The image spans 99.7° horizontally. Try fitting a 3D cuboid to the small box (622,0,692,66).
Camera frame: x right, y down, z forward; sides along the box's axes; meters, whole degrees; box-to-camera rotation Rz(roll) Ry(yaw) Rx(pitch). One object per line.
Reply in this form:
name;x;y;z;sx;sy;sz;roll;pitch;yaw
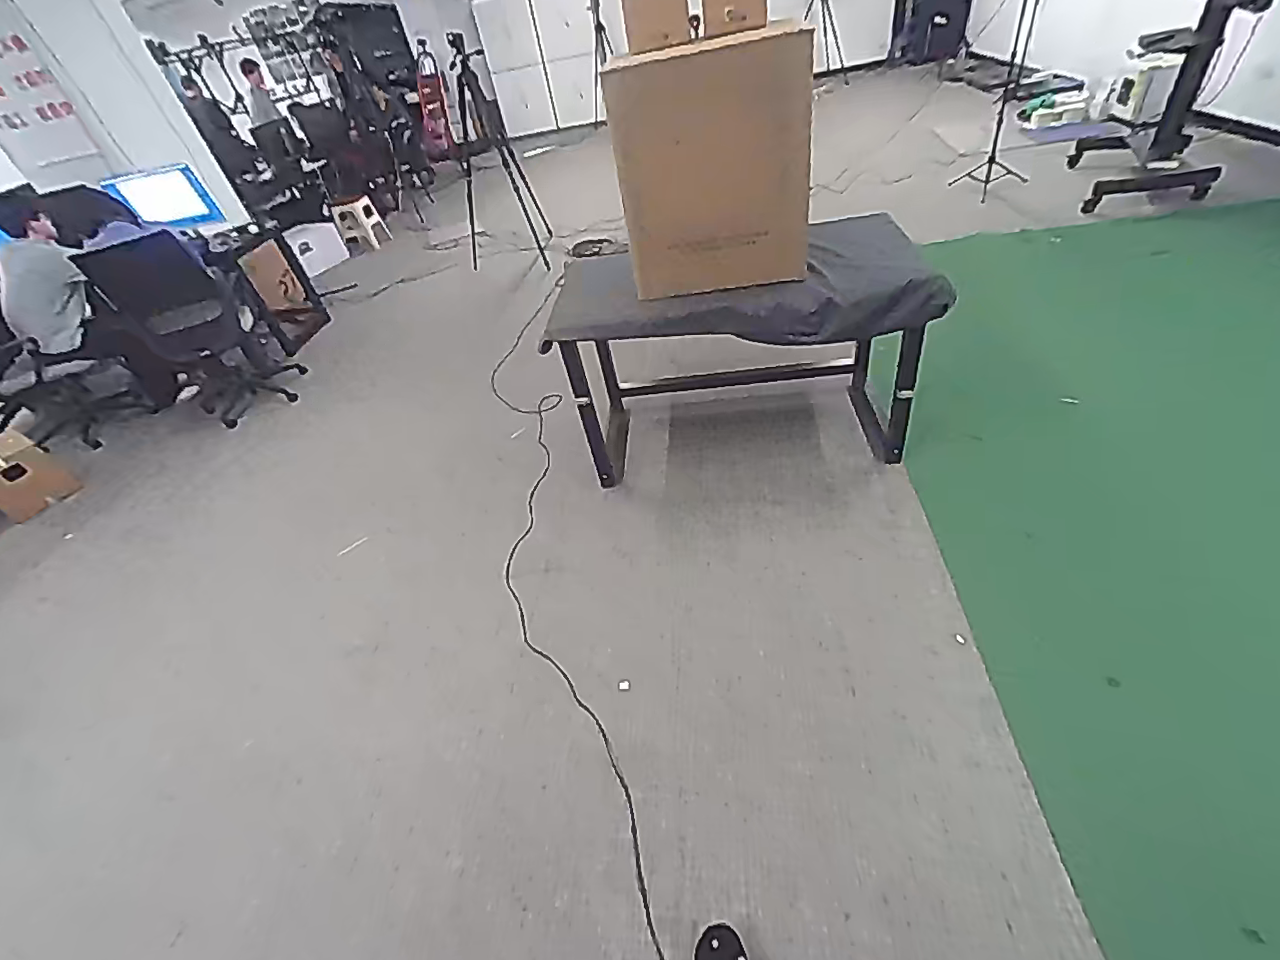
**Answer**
small box;0.049;-1.248;1.470;0.168;0.176;0.179;-5;39;11
